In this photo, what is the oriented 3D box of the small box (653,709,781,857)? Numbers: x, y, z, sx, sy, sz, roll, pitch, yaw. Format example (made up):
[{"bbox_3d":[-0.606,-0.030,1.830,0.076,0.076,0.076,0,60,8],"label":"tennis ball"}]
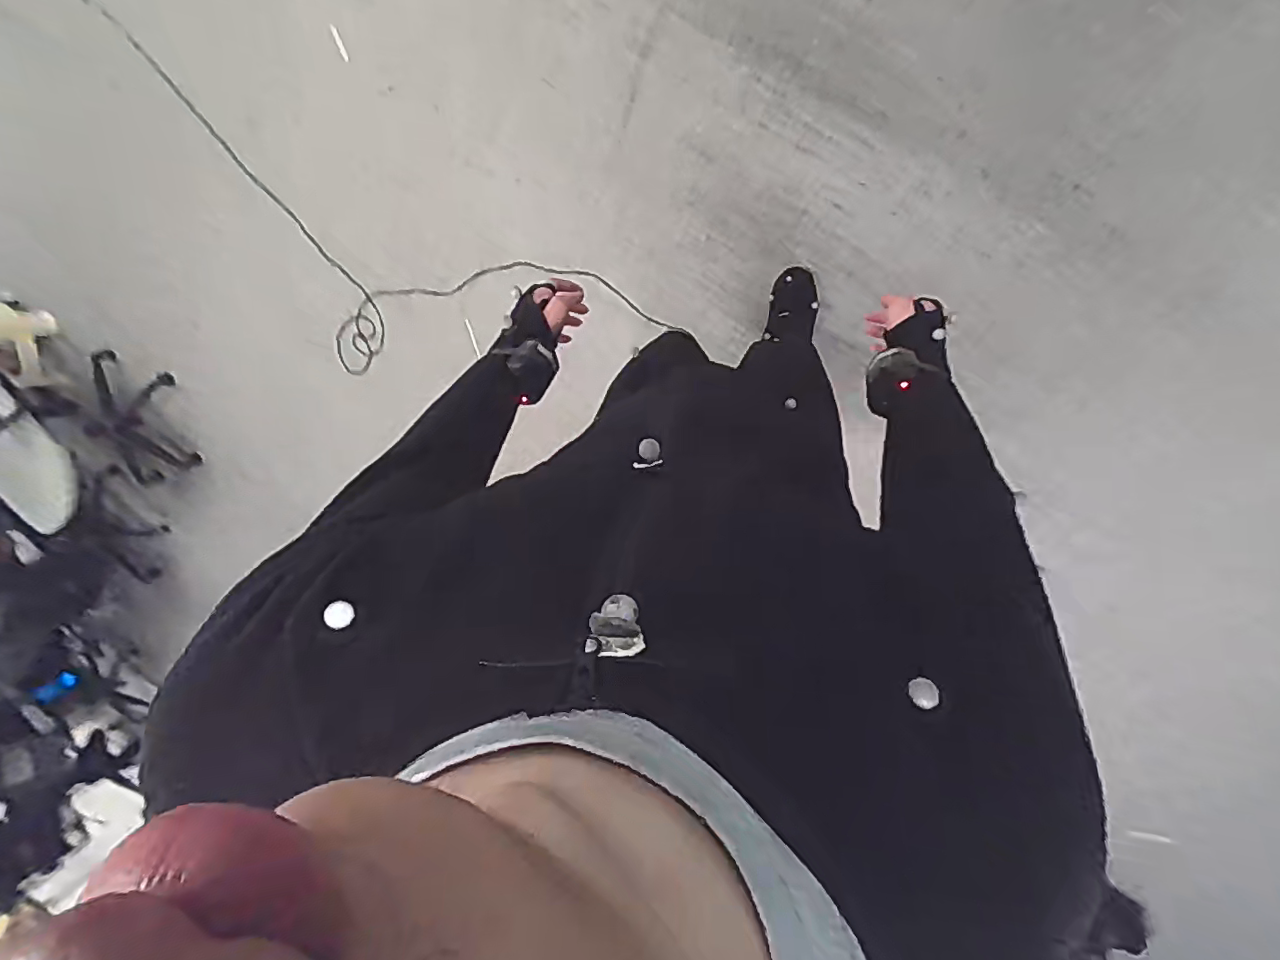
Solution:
[{"bbox_3d":[0.159,0.592,1.083,0.179,0.176,0.168,35,120,6],"label":"small box"}]
